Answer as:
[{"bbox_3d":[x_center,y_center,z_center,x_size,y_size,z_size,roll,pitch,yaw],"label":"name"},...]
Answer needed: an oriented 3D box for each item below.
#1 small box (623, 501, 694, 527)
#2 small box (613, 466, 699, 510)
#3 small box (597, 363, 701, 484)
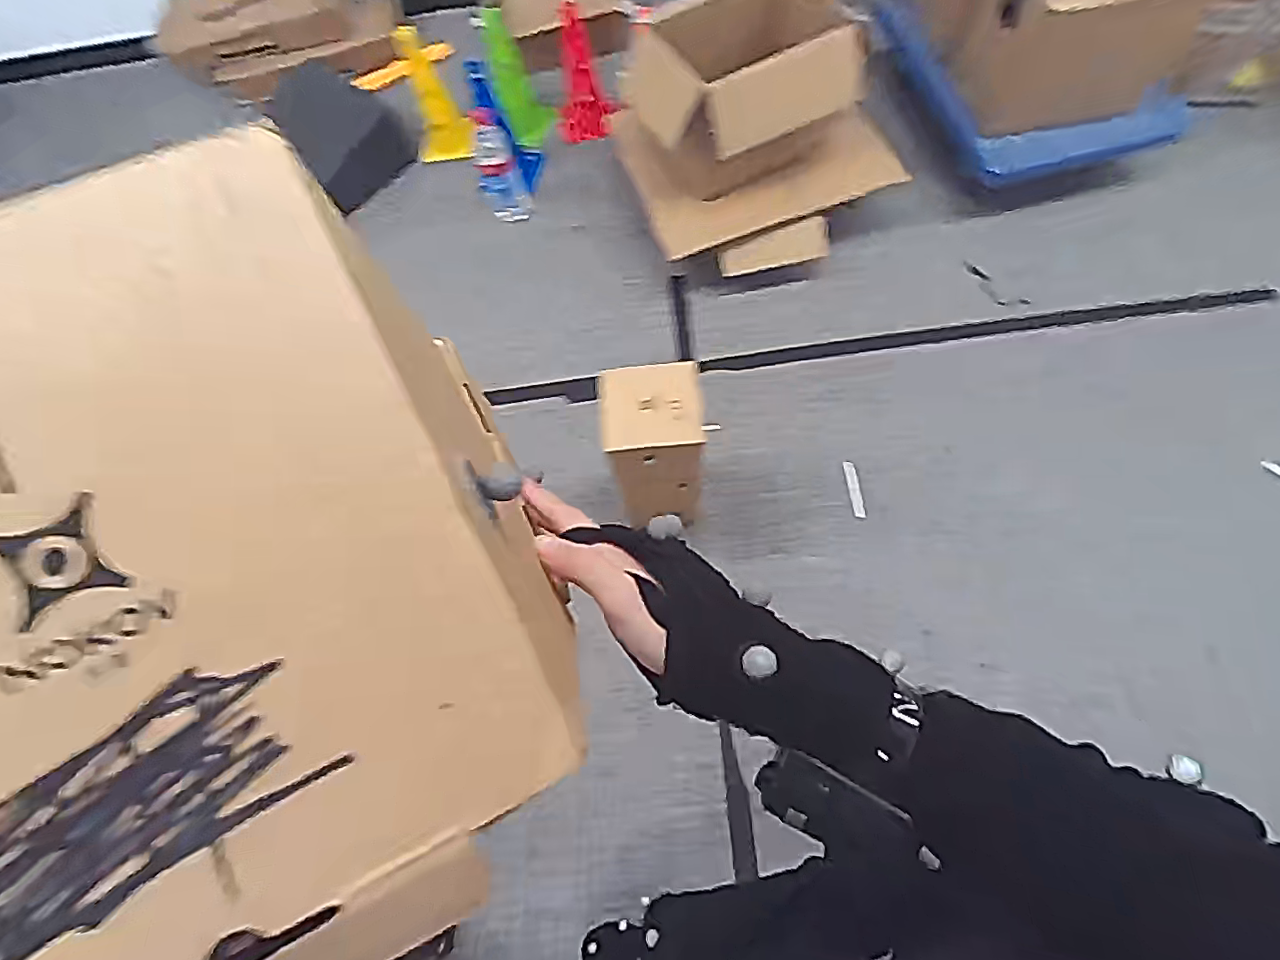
[{"bbox_3d":[0.042,0.010,1.331,0.168,0.176,0.179,-7,68,1],"label":"small box"},{"bbox_3d":[0.033,-0.040,1.177,0.179,0.176,0.168,-6,69,1],"label":"small box"},{"bbox_3d":[0.019,-0.099,1.023,0.179,0.176,0.168,-5,69,1],"label":"small box"}]
